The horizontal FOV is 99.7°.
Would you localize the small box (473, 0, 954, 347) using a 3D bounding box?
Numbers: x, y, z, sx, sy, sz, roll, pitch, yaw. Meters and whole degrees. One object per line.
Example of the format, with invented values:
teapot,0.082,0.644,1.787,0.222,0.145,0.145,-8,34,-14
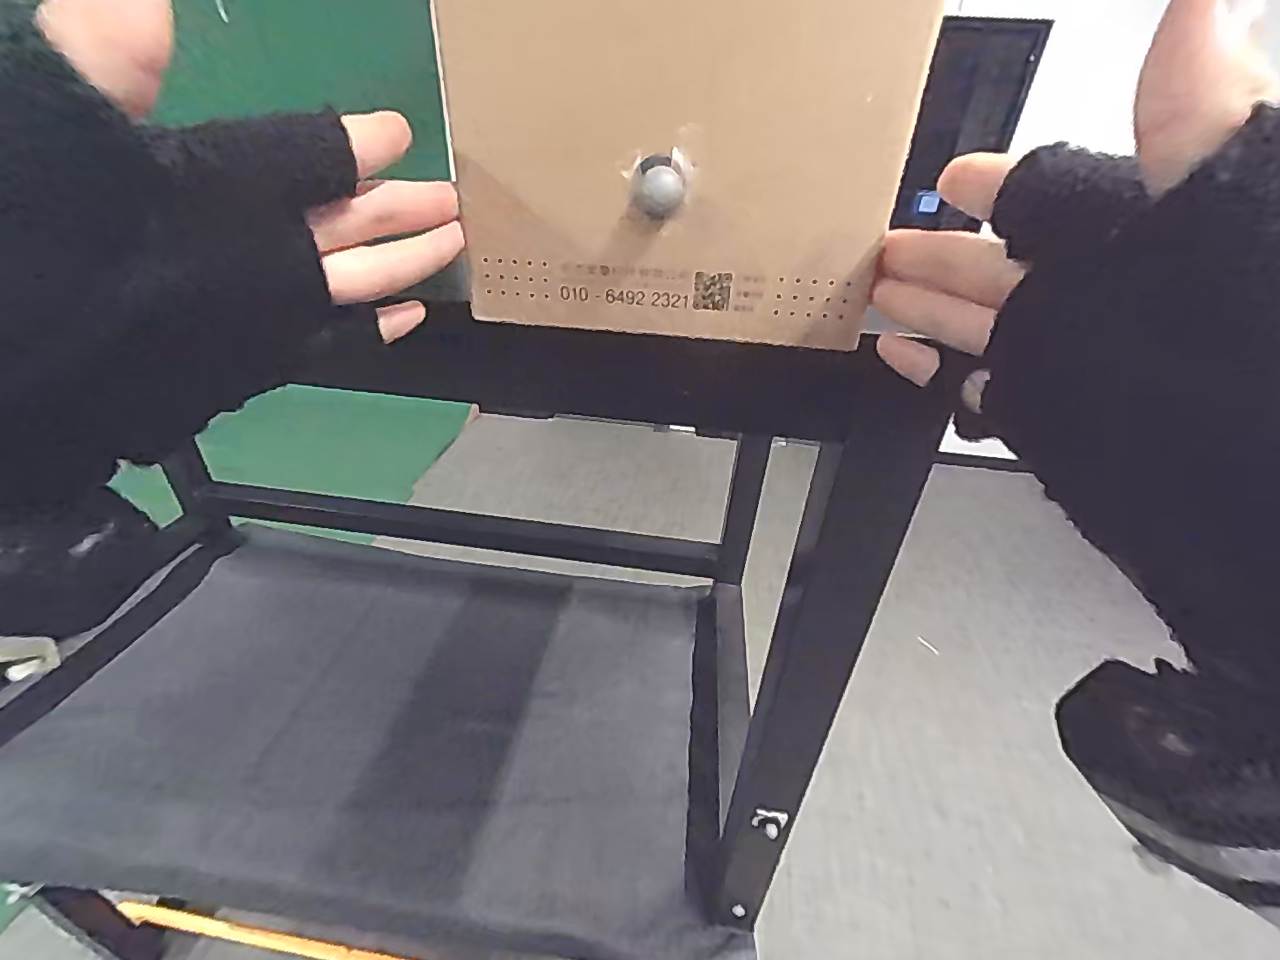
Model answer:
small box,0.028,-0.176,0.260,0.168,0.176,0.179,6,32,6
